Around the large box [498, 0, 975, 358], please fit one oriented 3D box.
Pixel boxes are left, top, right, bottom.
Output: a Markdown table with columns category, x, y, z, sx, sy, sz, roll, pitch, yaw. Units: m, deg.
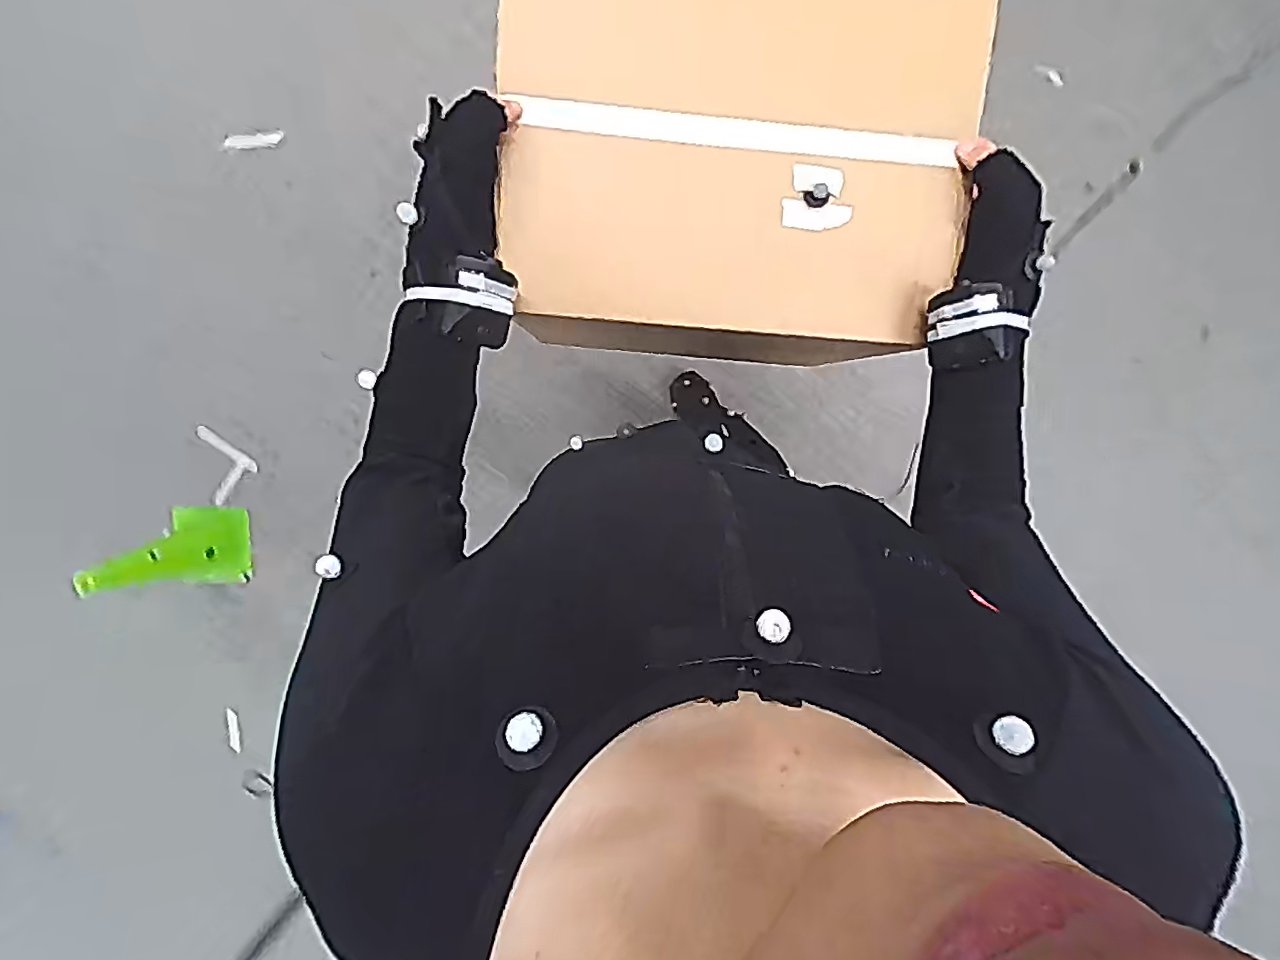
| category | x | y | z | sx | sy | sz | roll | pitch | yaw |
| --- | --- | --- | --- | --- | --- | --- | --- | --- | --- |
| large box | 0.069 | -0.313 | 0.605 | 0.408 | 0.320 | 0.320 | 2 | 99 | -5 |

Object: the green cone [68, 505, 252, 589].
| category | x | y | z | sx | sy | sz | roll | pitch | yaw |
| --- | --- | --- | --- | --- | --- | --- | --- | --- | --- |
| green cone | -1.153 | 0.184 | 1.290 | 0.202 | 0.368 | 0.200 | 1 | 95 | 0 |
